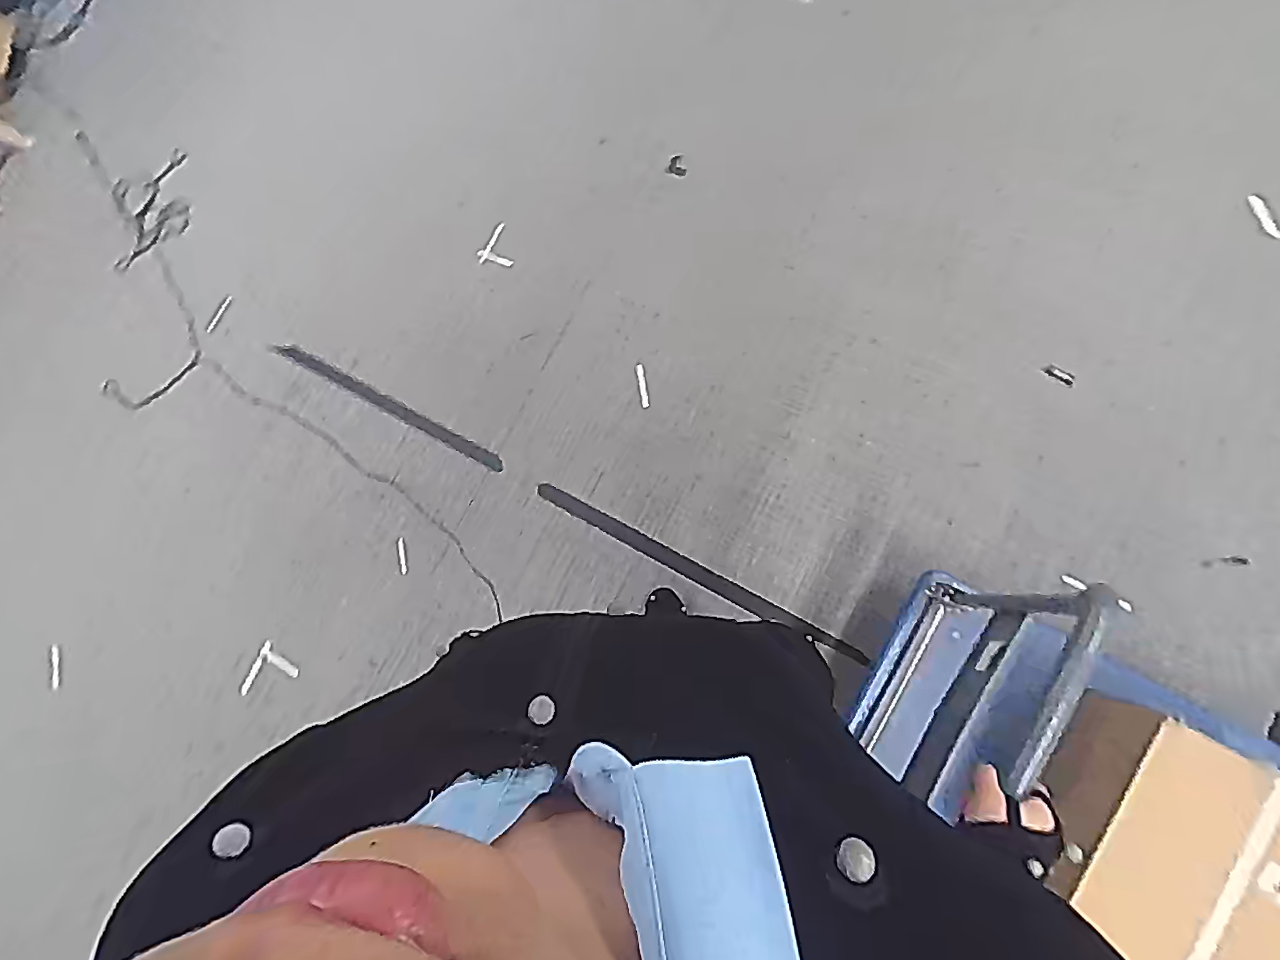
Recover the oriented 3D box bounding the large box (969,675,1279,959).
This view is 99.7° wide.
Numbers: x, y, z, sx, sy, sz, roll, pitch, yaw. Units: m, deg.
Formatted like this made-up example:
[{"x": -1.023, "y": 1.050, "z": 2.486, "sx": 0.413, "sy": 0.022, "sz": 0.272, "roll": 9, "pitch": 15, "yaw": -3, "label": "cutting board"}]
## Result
[{"x": 0.870, "y": 0.620, "z": 0.950, "sx": 0.320, "sy": 0.320, "sz": 0.408, "roll": 30, "pitch": 85, "yaw": 14, "label": "large box"}]
